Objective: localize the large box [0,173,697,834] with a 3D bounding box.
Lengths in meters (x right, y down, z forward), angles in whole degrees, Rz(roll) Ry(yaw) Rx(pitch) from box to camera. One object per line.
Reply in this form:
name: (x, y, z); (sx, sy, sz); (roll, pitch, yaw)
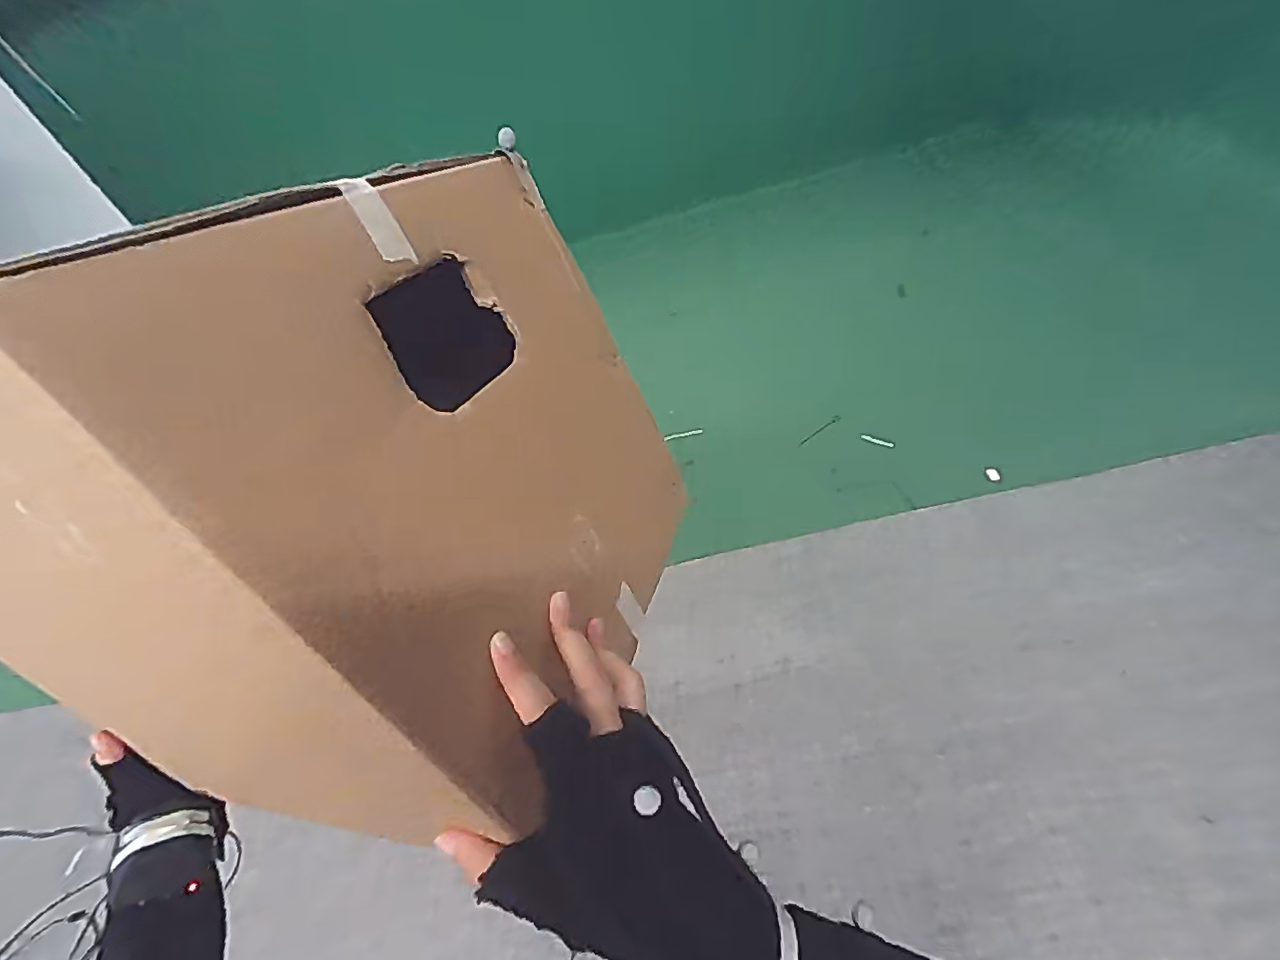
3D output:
large box: (-0.219, 0.024, 0.427); (0.408, 0.320, 0.320); (-12, 30, 29)
